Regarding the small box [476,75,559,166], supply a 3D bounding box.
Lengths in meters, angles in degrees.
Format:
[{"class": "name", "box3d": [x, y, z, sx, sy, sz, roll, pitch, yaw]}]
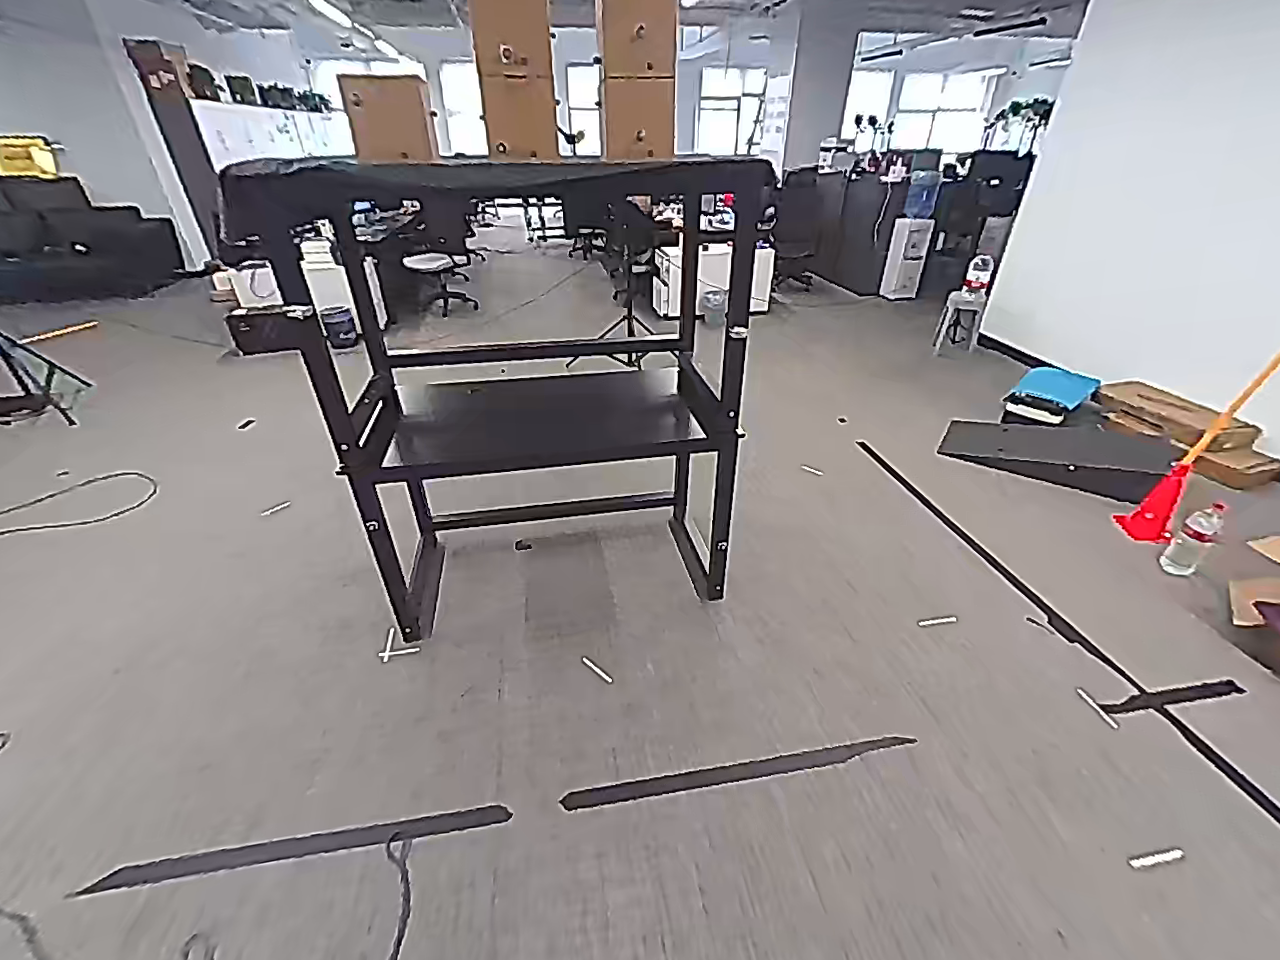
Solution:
[{"class": "small box", "box3d": [-0.285, -0.847, 1.283, 0.168, 0.176, 0.179, -6, 30, -9]}]

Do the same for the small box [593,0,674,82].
[{"class": "small box", "box3d": [-0.015, -1.016, 1.238, 0.168, 0.176, 0.179, -5, 33, -7]}]

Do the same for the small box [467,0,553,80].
[{"class": "small box", "box3d": [-0.285, -0.988, 1.200, 0.168, 0.176, 0.179, -6, 32, -7]}]

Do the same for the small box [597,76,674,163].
[{"class": "small box", "box3d": [-0.014, -0.876, 1.324, 0.168, 0.176, 0.179, -6, 32, -7]}]
